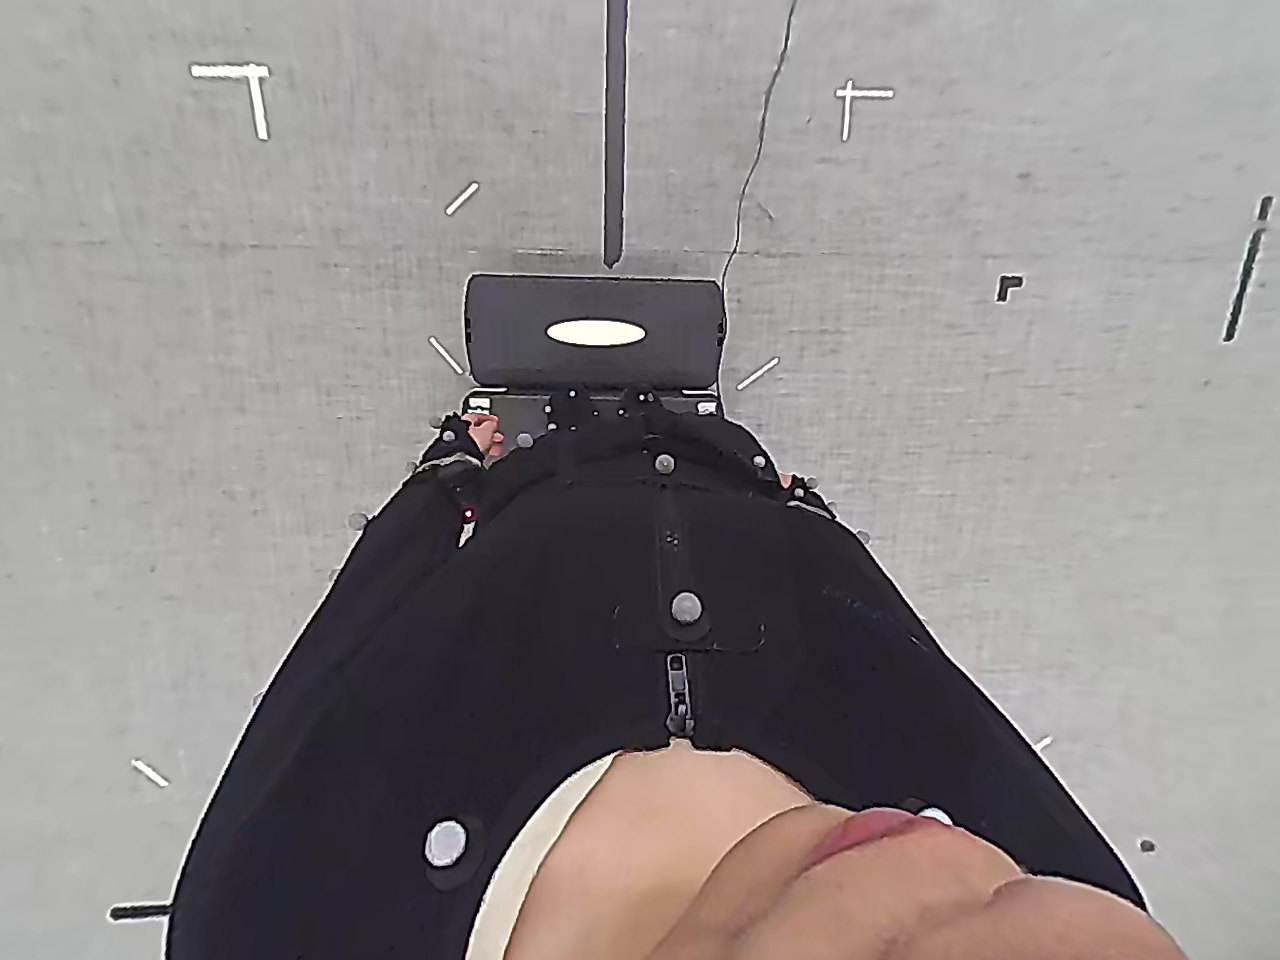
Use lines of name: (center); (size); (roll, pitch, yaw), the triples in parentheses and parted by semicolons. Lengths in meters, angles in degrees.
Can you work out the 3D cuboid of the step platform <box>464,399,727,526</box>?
step platform: (-0.113, -0.048, 1.450); (0.684, 0.204, 0.286); (4, 100, -4)
